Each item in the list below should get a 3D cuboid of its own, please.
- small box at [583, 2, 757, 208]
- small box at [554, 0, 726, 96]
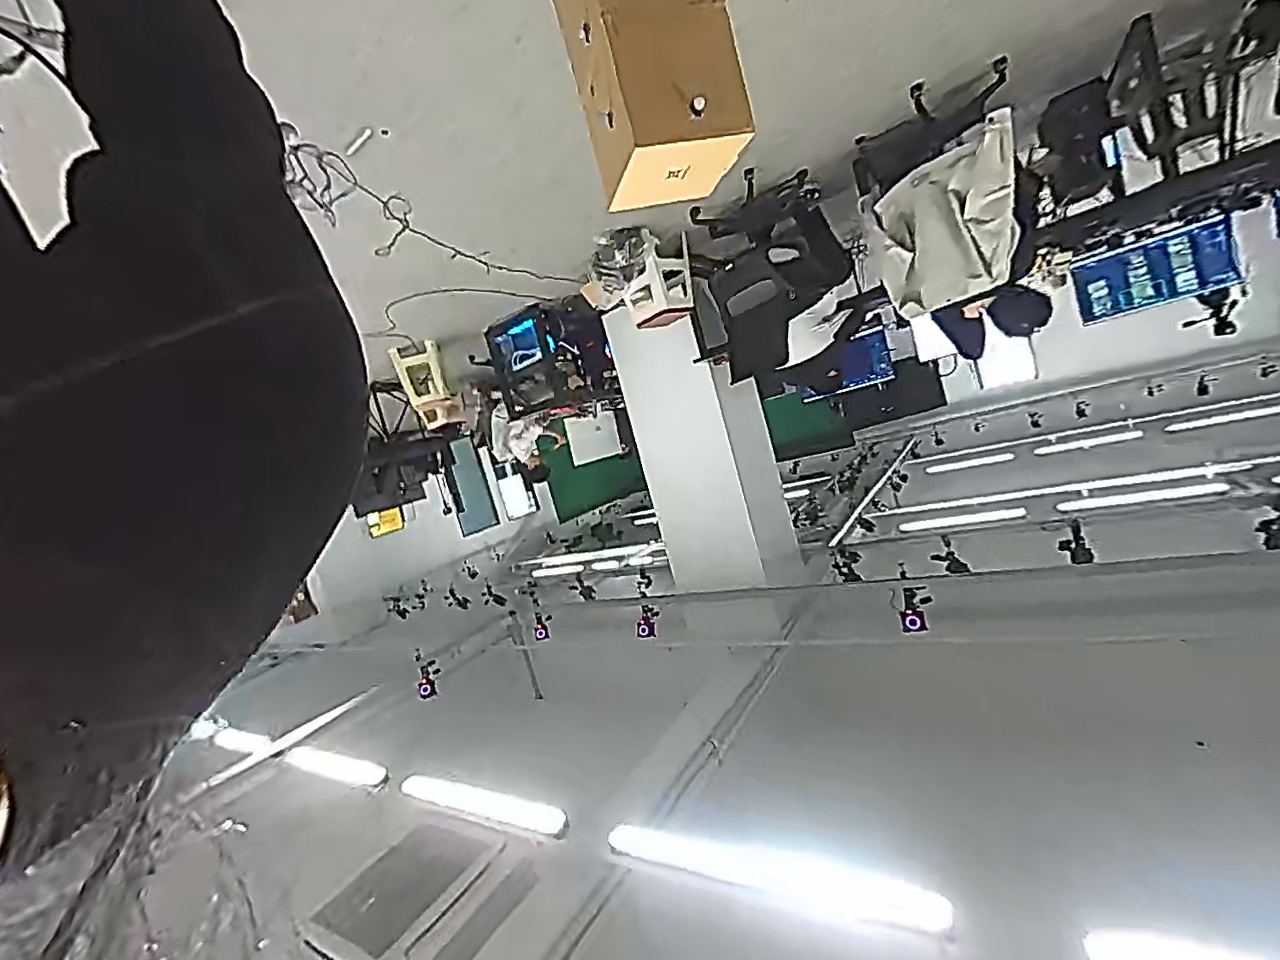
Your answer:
[{"bbox_3d":[0.032,-0.516,0.756,0.179,0.176,0.168,-18,-176,-14],"label":"small box"},{"bbox_3d":[-0.011,-0.673,0.740,0.179,0.176,0.168,-18,-176,-14],"label":"small box"}]
